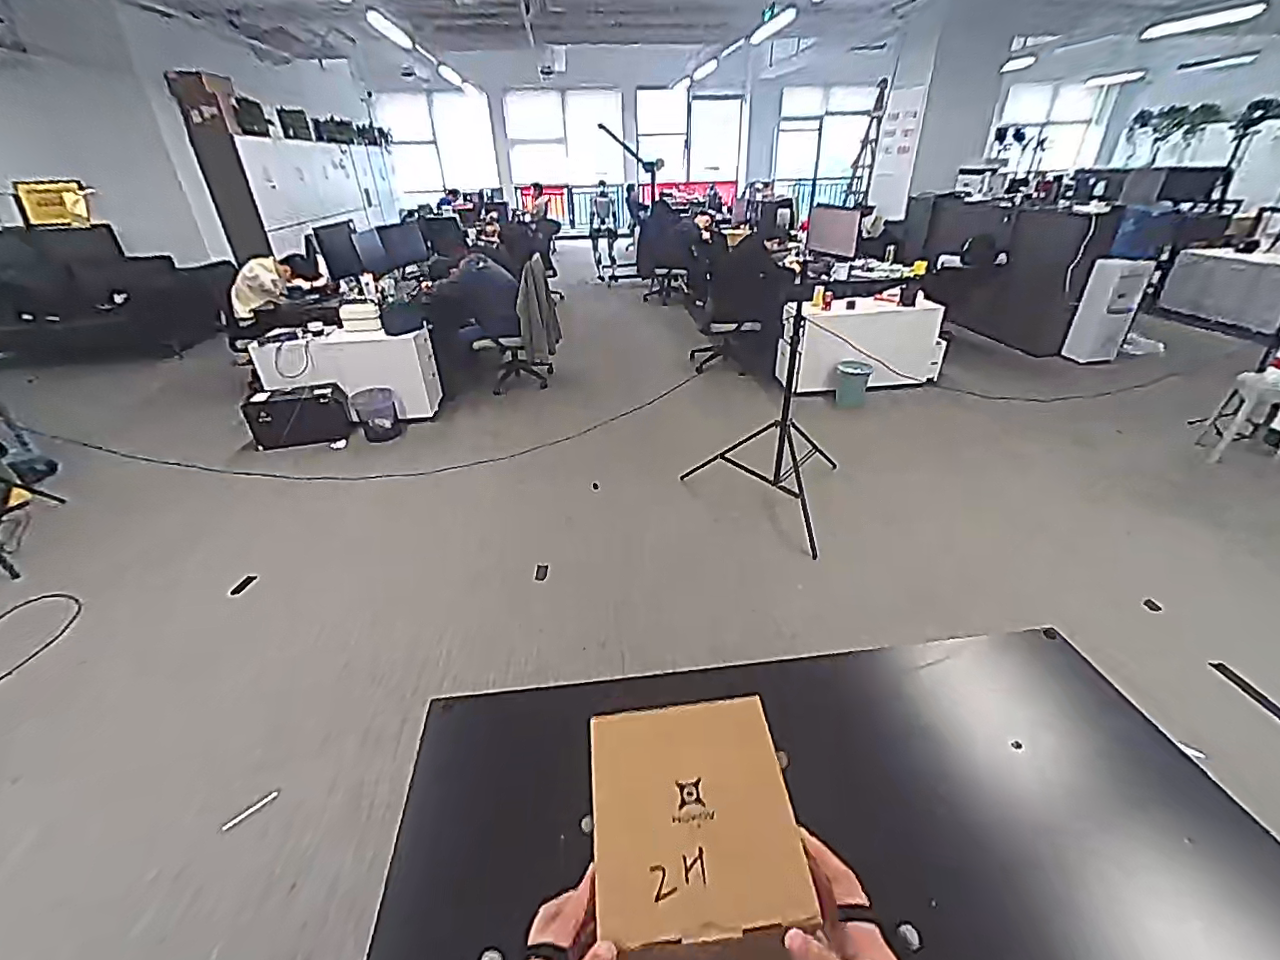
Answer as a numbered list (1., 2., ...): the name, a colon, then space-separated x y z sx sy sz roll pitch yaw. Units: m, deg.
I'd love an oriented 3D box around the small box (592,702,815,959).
1. small box: 0.046 0.342 0.507 0.168 0.176 0.179 -8 37 -2
